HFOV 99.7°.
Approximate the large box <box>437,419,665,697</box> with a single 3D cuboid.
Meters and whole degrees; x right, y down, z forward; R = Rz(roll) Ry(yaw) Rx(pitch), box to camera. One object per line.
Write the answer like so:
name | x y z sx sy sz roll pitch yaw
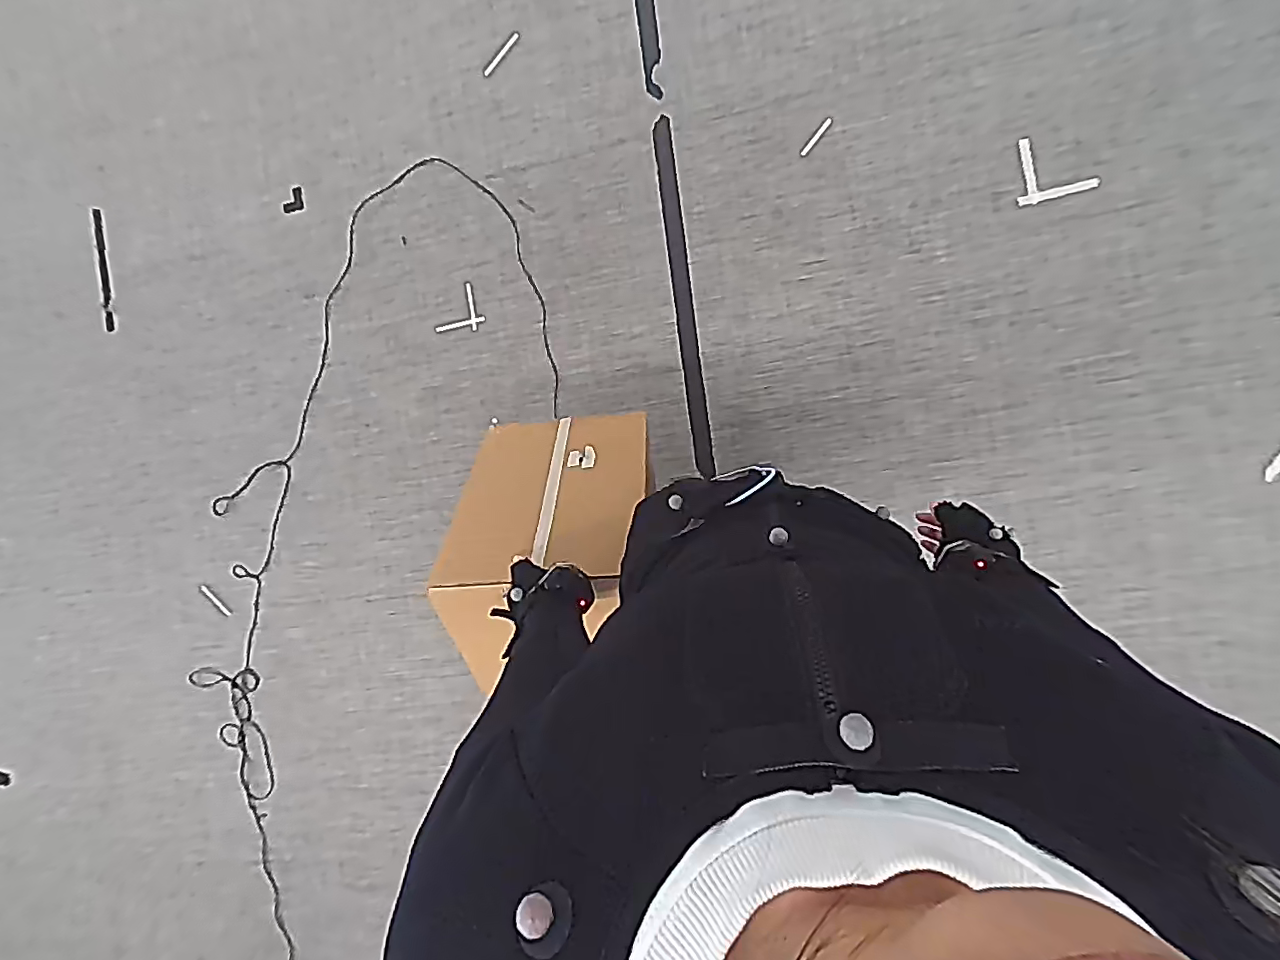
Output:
large box | -0.125 0.134 1.002 0.320 0.408 0.320 -4 129 4
